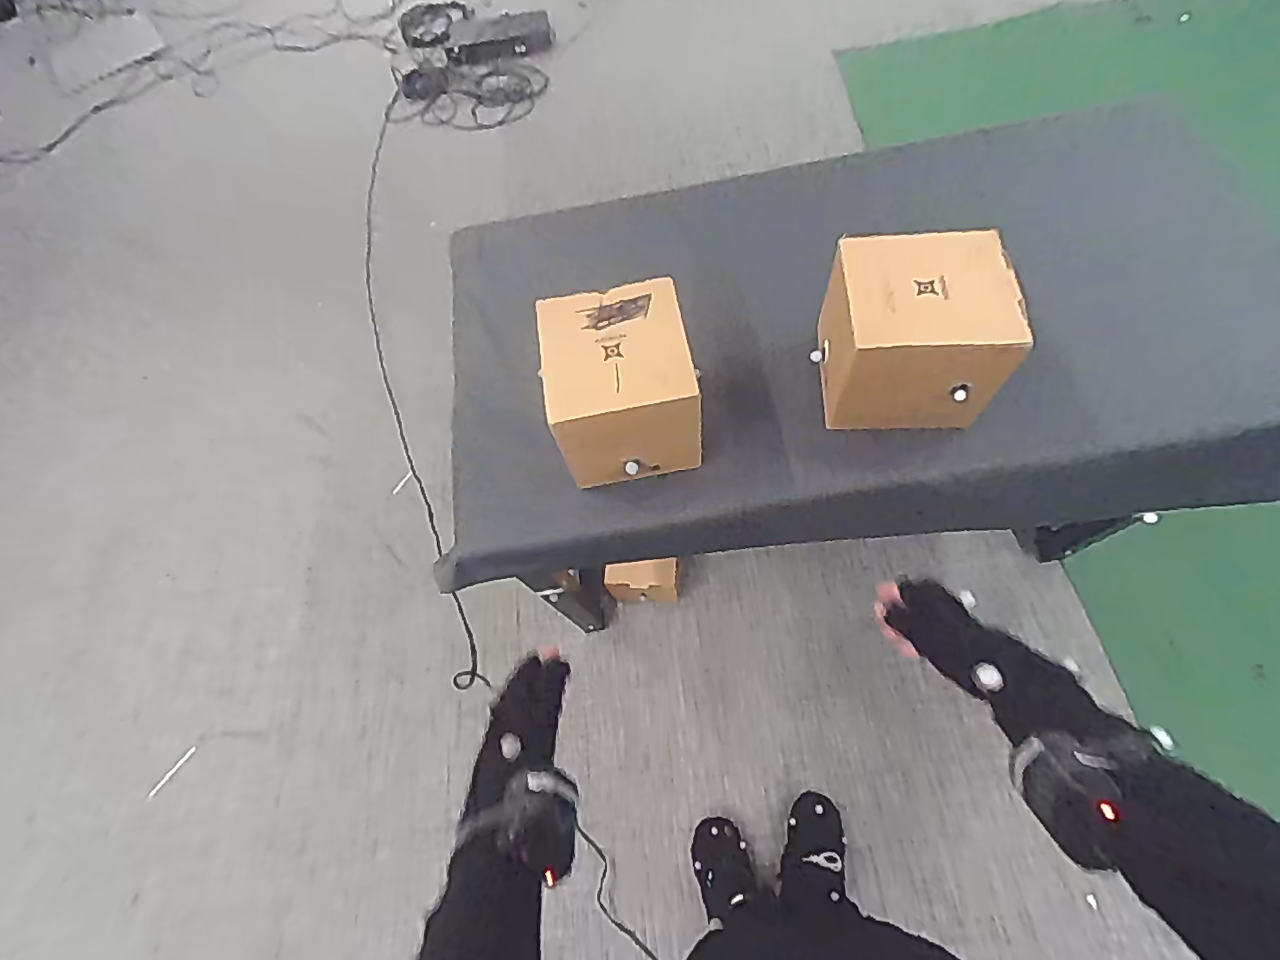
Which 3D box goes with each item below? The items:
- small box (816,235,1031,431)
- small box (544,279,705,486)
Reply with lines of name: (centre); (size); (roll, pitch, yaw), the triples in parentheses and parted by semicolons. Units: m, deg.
small box: (0.328, -0.172, 0.668); (0.179, 0.176, 0.168); (-1, 63, 7)
small box: (-0.017, -0.114, 0.676); (0.168, 0.176, 0.179); (-10, 64, 1)
